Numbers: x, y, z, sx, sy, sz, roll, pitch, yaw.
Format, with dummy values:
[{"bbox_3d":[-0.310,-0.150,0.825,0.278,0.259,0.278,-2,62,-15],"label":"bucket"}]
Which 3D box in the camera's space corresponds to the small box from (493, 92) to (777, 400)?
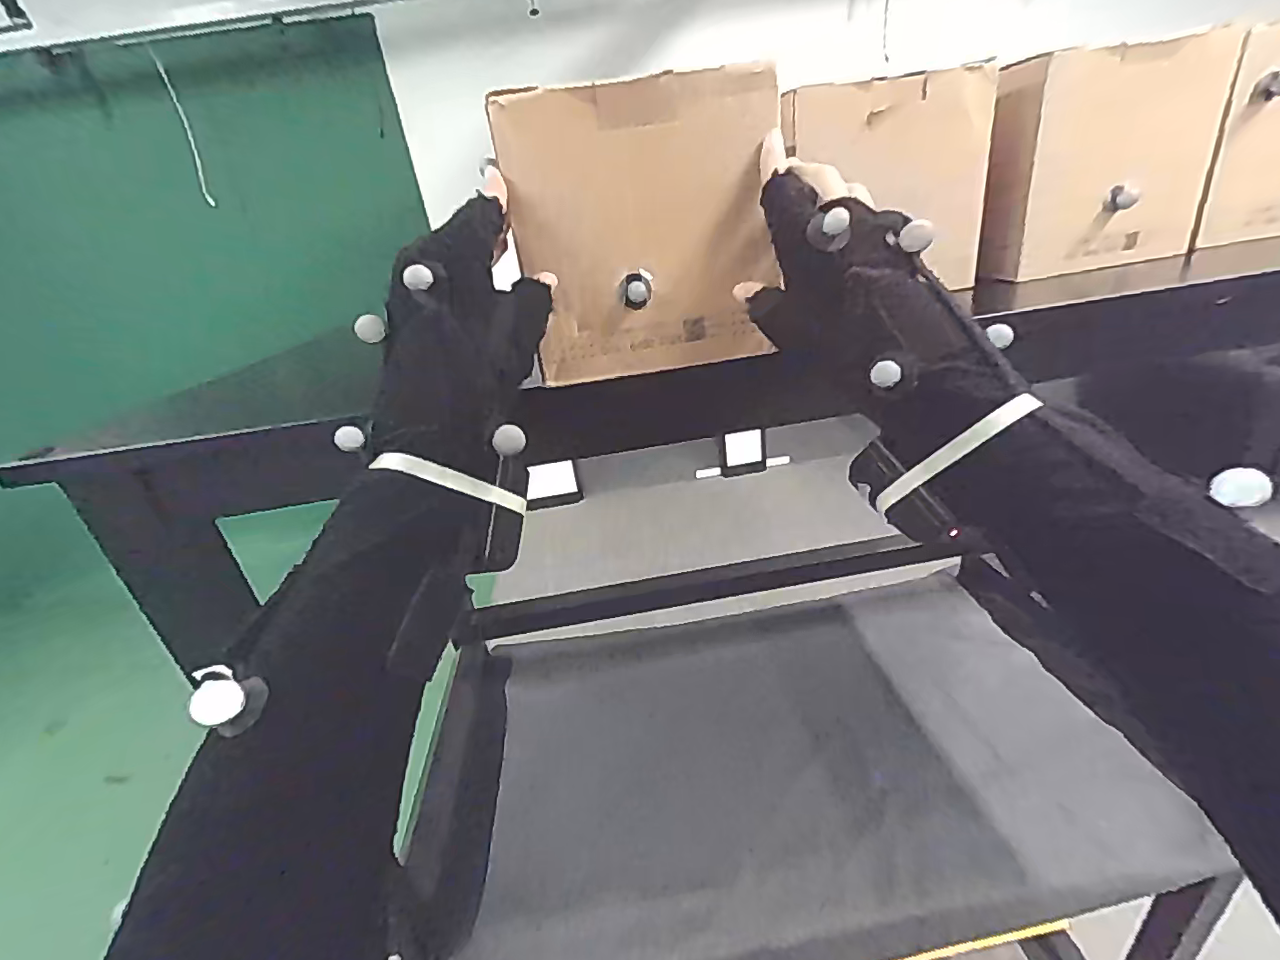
[{"bbox_3d":[-0.002,-0.170,0.416,0.168,0.176,0.179,-10,25,-3],"label":"small box"}]
